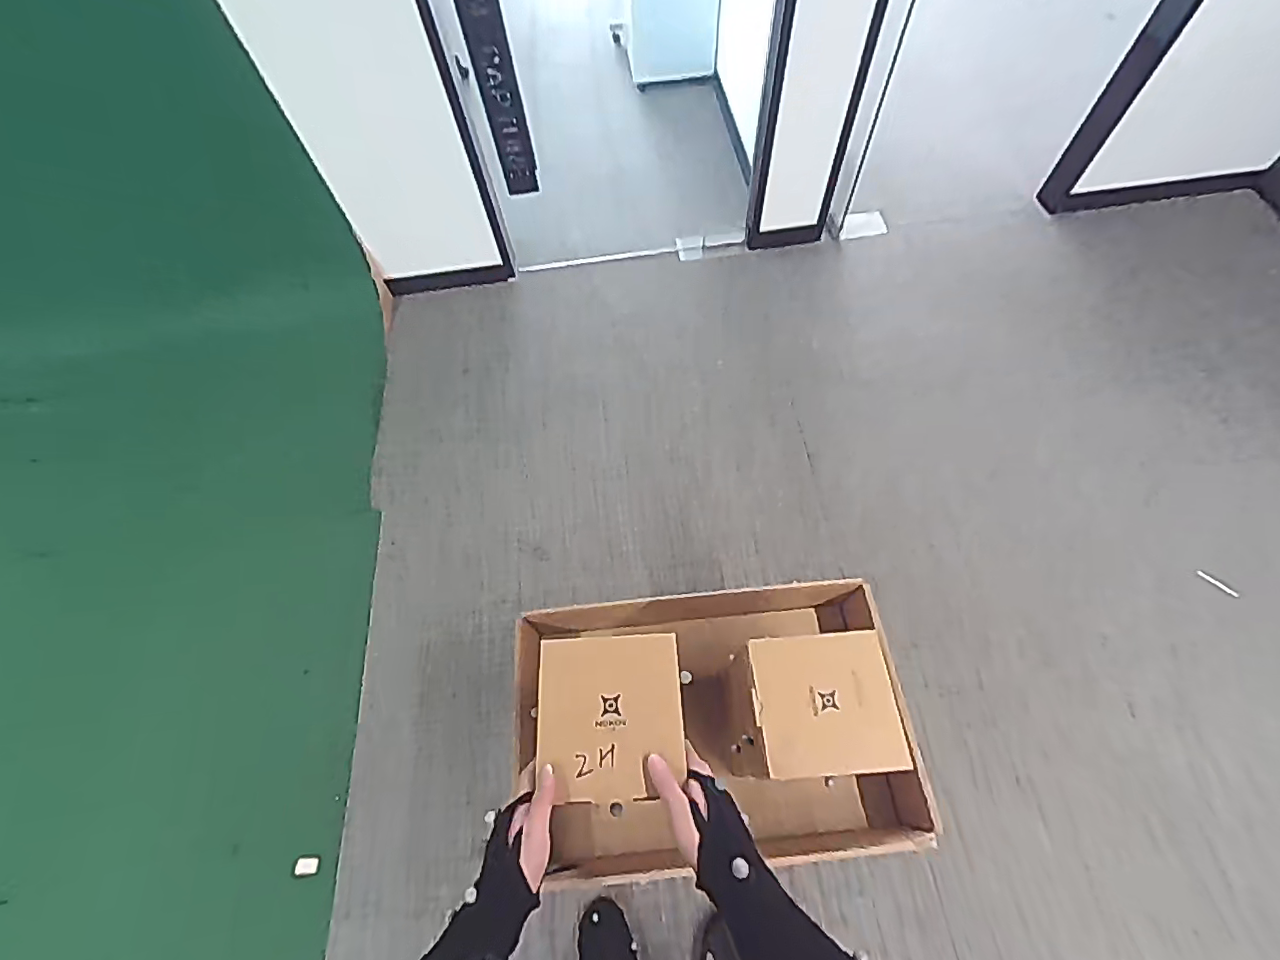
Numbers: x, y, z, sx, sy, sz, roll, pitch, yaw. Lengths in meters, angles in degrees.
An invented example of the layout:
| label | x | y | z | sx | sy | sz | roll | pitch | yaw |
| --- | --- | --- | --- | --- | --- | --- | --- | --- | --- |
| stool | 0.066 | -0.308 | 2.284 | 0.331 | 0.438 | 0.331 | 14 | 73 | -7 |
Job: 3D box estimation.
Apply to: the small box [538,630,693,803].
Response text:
| label | x | y | z | sx | sy | sz | roll | pitch | yaw |
| --- | --- | --- | --- | --- | --- | --- | --- | --- | --- |
| small box | -0.029 | 0.298 | 0.674 | 0.168 | 0.176 | 0.179 | -2 | 60 | -1 |

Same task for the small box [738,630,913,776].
| label | x | y | z | sx | sy | sz | roll | pitch | yaw |
| --- | --- | --- | --- | --- | --- | --- | --- | --- | --- |
| small box | 0.235 | 0.310 | 0.743 | 0.179 | 0.176 | 0.168 | -4 | 63 | -1 |
